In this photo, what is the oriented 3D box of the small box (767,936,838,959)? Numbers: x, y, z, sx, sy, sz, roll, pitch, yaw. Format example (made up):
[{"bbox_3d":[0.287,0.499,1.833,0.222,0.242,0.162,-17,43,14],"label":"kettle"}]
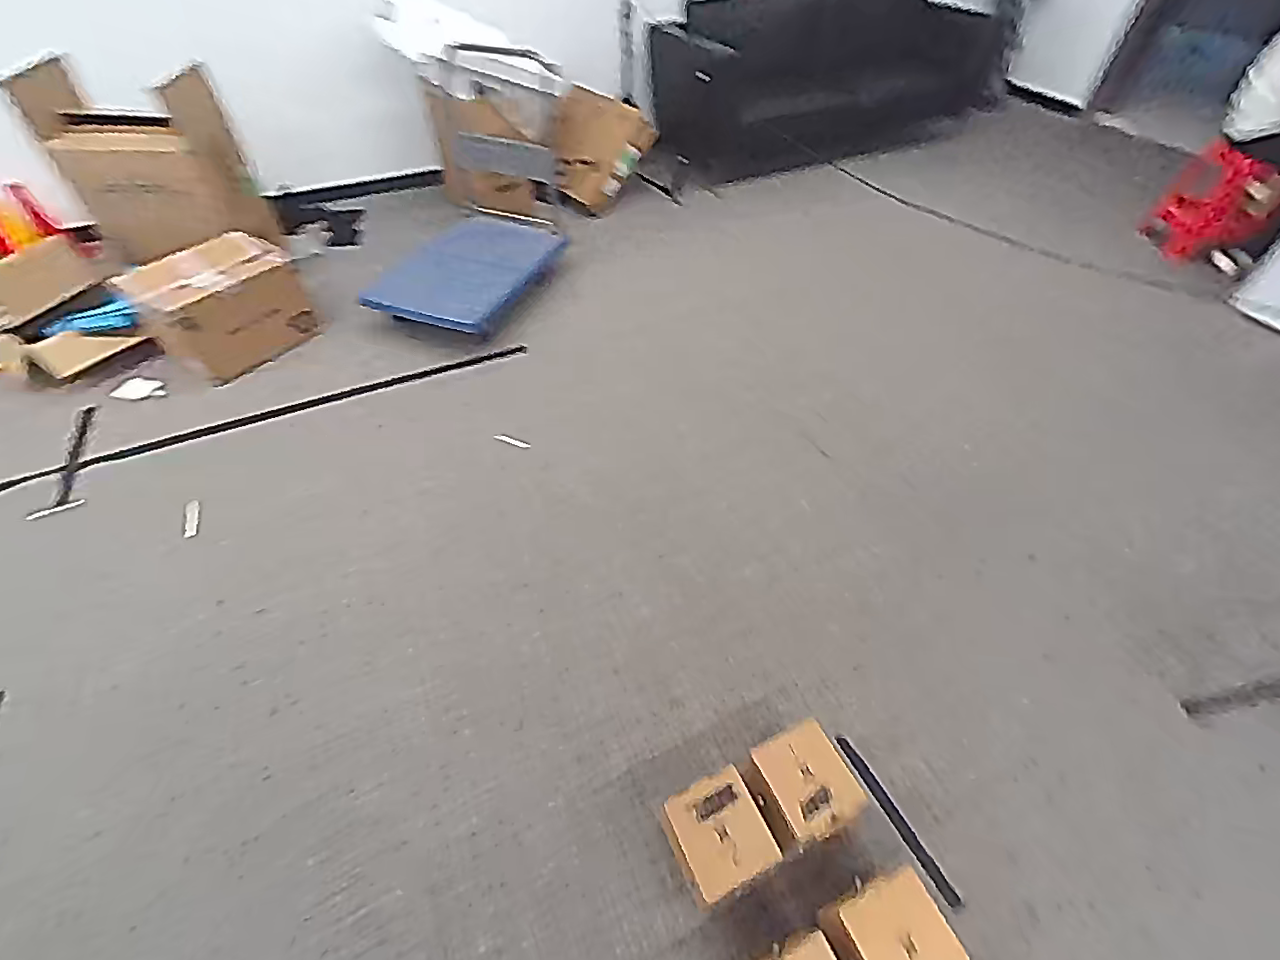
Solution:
[{"bbox_3d":[0.275,0.919,0.922,0.179,0.176,0.168,-20,52,-16],"label":"small box"}]
